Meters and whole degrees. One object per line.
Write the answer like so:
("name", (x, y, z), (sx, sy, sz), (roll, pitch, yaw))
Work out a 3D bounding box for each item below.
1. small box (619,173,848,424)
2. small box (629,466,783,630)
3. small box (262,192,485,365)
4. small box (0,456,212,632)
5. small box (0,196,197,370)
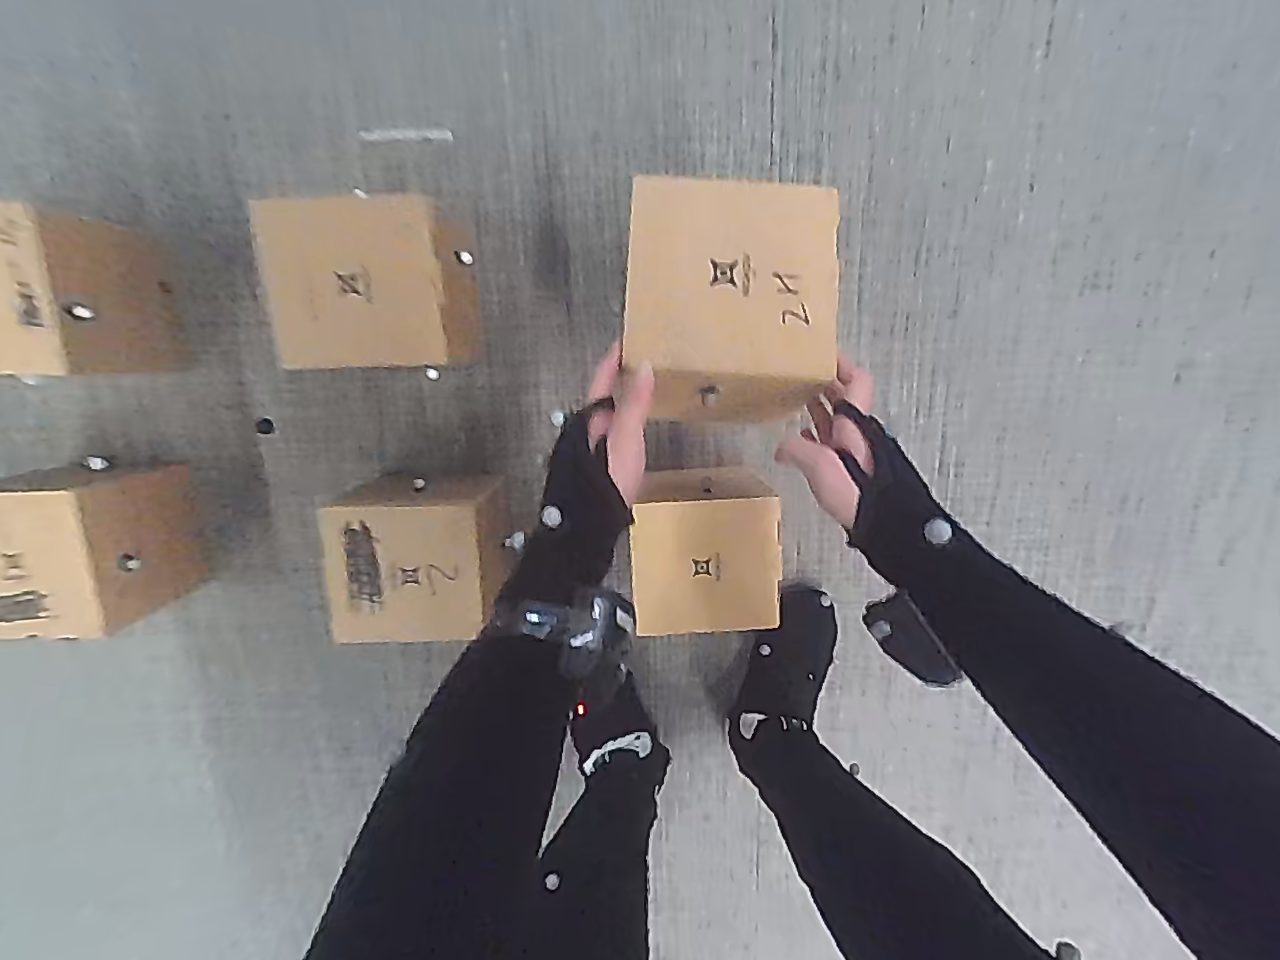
("small box", (0.077, -0.153, 0.506), (0.179, 0.176, 0.168), (4, 83, 0))
("small box", (0.076, 0.079, 0.704), (0.179, 0.176, 0.168), (-3, 102, -2))
("small box", (-0.285, -0.220, 0.625), (0.179, 0.176, 0.168), (-2, 101, -1))
("small box", (-0.681, 0.071, 0.674), (0.168, 0.176, 0.179), (-1, 102, -2))
("small box", (-0.662, -0.212, 0.614), (0.179, 0.176, 0.168), (1, 102, -1))
